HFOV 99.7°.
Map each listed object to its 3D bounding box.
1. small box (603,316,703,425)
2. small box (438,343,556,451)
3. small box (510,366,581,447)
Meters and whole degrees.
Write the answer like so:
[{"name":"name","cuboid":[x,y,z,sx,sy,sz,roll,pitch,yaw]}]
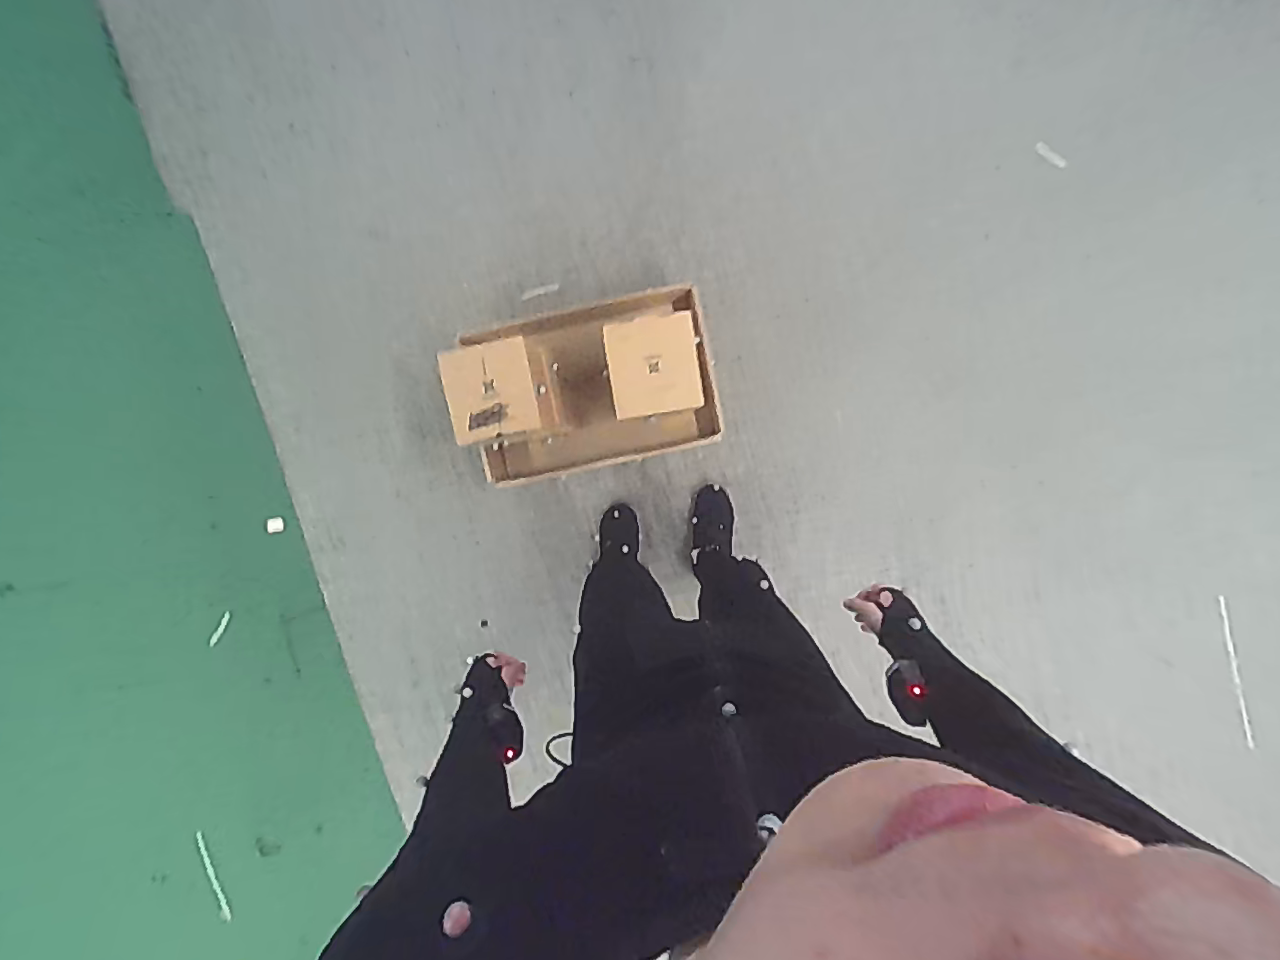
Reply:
[{"name":"small box","cuboid":[0.026,-0.208,1.066,0.168,0.176,0.179,-9,95,3]},{"name":"small box","cuboid":[-0.275,-0.158,1.078,0.168,0.176,0.179,-12,92,2]},{"name":"small box","cuboid":[-0.256,-0.184,1.404,0.168,0.176,0.179,-11,93,3]}]
